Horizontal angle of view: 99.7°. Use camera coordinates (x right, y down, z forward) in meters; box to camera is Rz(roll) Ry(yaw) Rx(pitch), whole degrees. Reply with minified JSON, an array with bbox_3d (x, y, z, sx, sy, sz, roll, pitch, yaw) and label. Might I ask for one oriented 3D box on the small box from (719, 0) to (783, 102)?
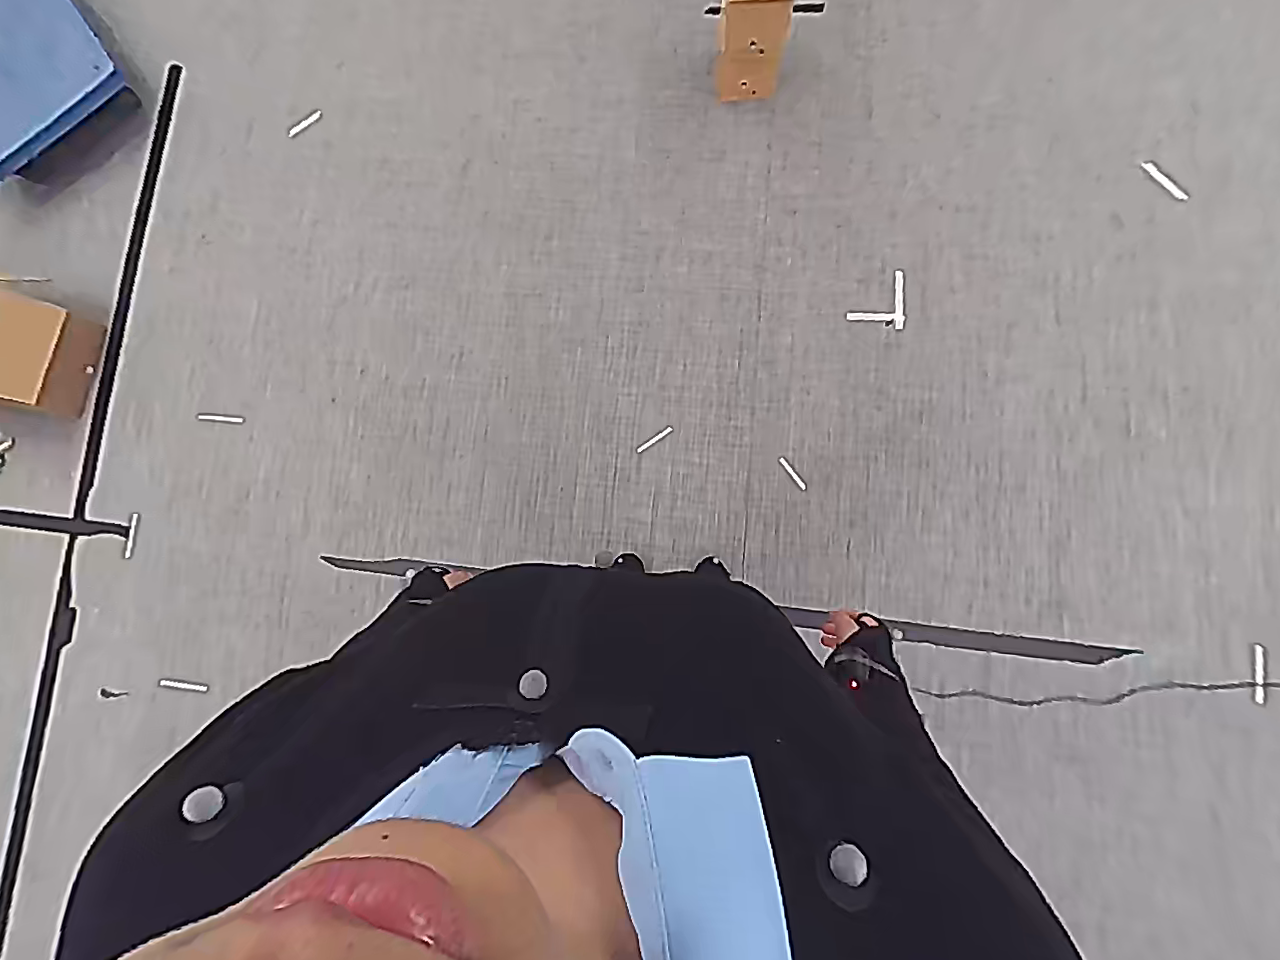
[{"bbox_3d":[0.319,-1.254,1.582,0.168,0.176,0.179,-1,83,5],"label":"small box"}]
